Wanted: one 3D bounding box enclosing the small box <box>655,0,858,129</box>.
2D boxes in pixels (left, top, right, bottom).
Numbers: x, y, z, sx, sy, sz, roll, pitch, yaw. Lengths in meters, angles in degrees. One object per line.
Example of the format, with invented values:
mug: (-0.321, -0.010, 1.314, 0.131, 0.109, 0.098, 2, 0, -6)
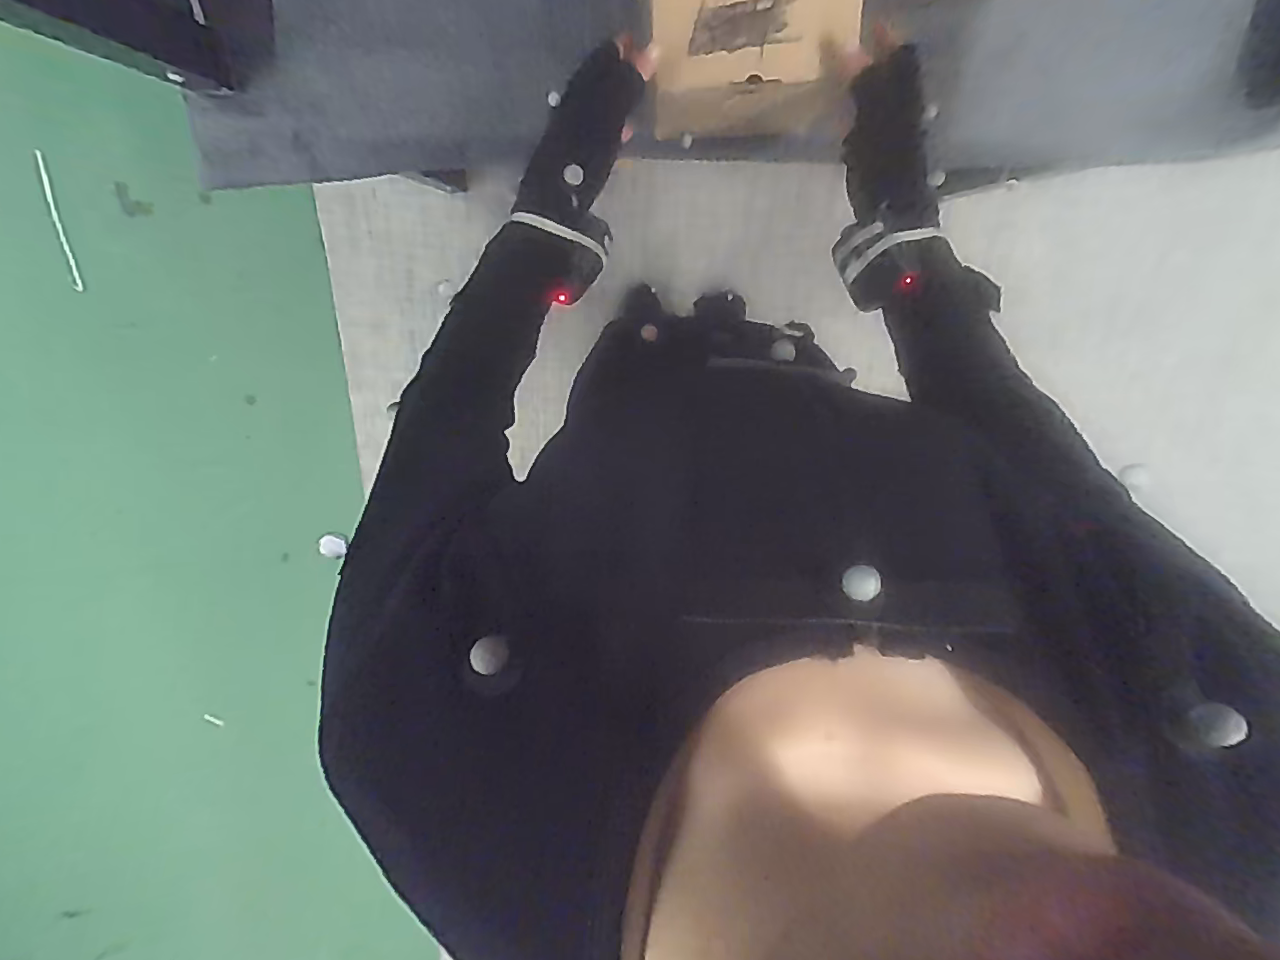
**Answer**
small box: (0.098, -0.445, 0.502, 0.168, 0.176, 0.179, -1, 110, 3)
